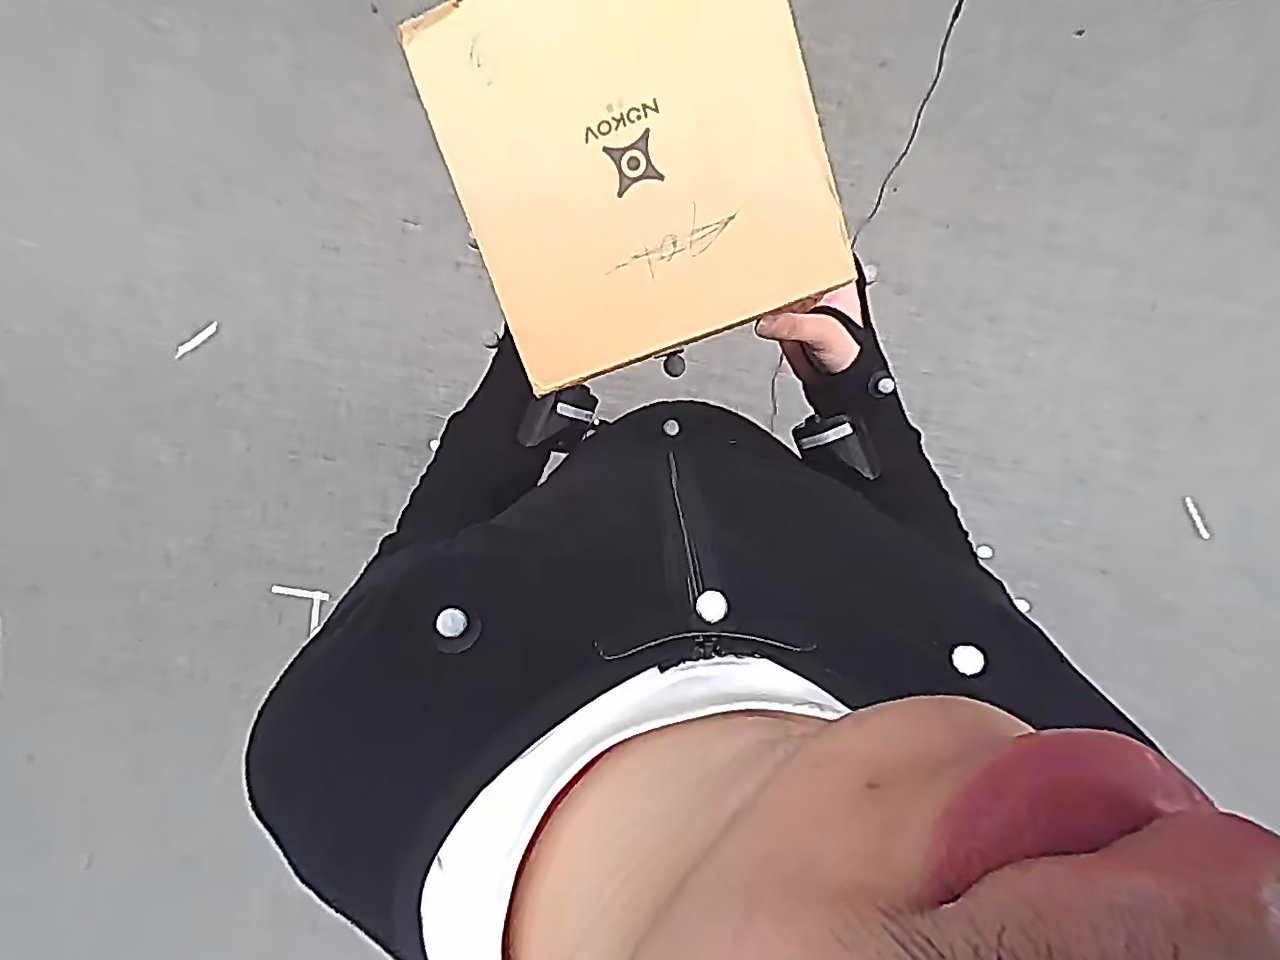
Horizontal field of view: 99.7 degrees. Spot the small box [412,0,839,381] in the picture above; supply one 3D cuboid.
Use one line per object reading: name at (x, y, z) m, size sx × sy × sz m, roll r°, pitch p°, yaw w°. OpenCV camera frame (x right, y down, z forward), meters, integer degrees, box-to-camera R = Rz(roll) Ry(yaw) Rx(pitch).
small box at (0.000, -0.171, 0.337) m, size 0.168 × 0.176 × 0.179 m, roll -18°, pitch 102°, yaw 8°
